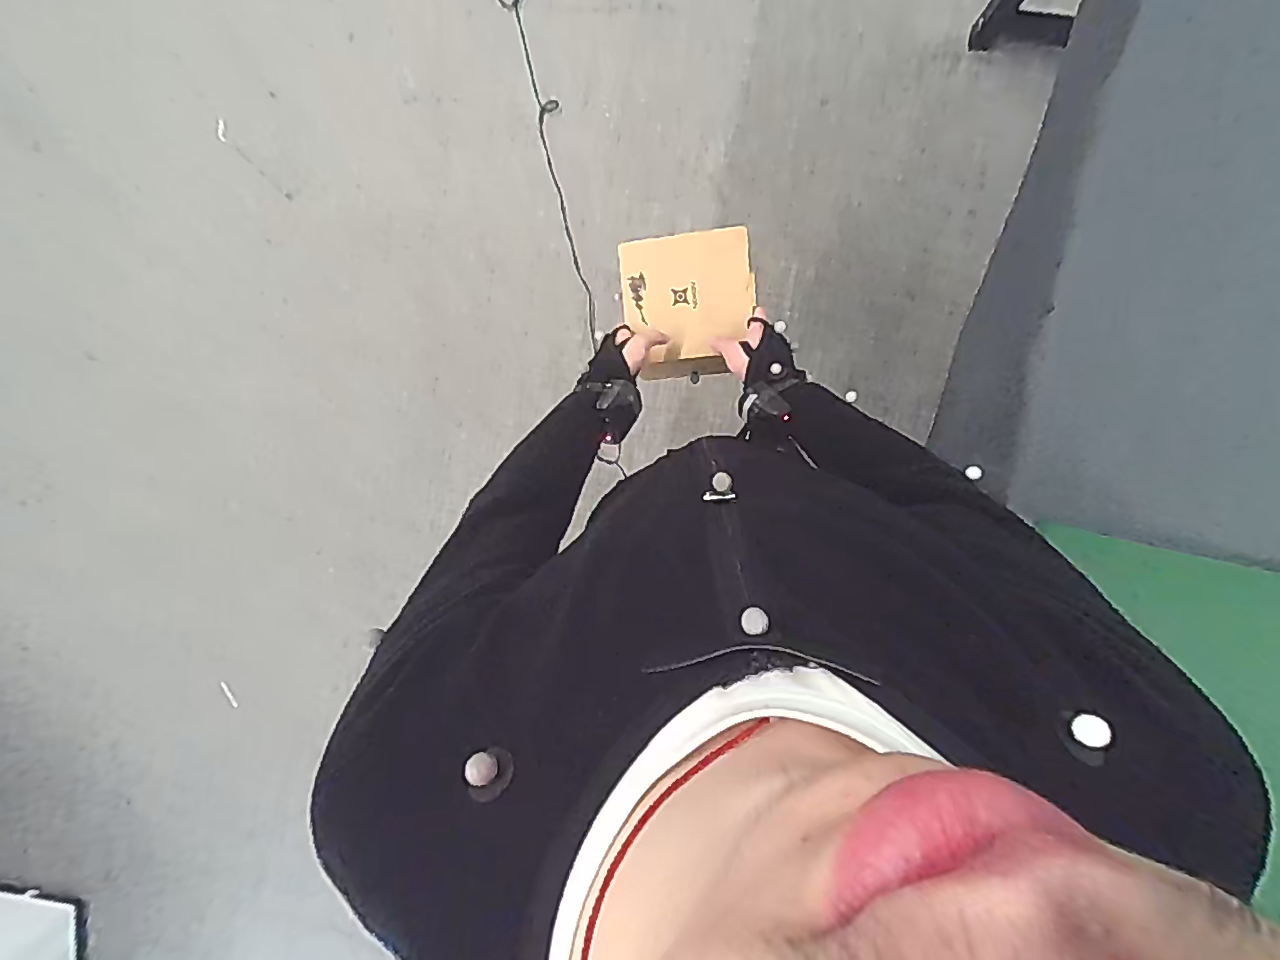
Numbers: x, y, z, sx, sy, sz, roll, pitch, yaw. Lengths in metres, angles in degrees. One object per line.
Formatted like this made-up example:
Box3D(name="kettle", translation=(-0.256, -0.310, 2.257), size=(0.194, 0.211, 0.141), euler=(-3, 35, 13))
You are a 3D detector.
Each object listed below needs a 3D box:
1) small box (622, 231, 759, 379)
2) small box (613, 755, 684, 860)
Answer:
Box3D(name="small box", translation=(0.074, -0.247, 0.801), size=(0.179, 0.176, 0.168), euler=(-4, 92, 7))
Box3D(name="small box", translation=(0.029, 0.945, 1.573), size=(0.168, 0.176, 0.179), euler=(14, 96, 2))
